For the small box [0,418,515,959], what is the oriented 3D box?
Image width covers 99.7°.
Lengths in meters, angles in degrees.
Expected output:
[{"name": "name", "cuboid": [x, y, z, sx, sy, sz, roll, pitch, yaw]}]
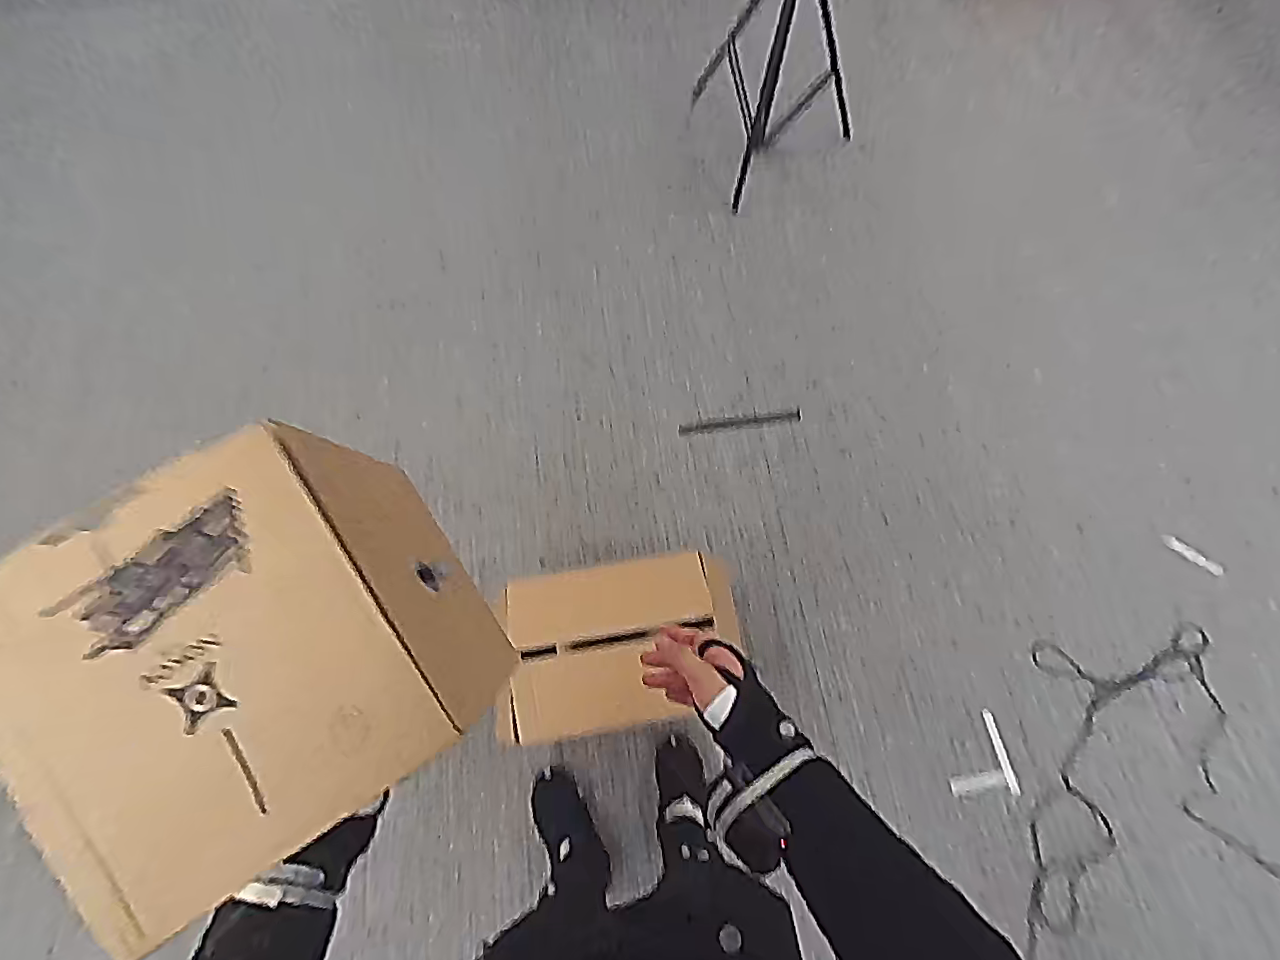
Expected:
[{"name": "small box", "cuboid": [-0.195, 0.094, 0.311, 0.168, 0.176, 0.179, -33, 87, -6]}]
